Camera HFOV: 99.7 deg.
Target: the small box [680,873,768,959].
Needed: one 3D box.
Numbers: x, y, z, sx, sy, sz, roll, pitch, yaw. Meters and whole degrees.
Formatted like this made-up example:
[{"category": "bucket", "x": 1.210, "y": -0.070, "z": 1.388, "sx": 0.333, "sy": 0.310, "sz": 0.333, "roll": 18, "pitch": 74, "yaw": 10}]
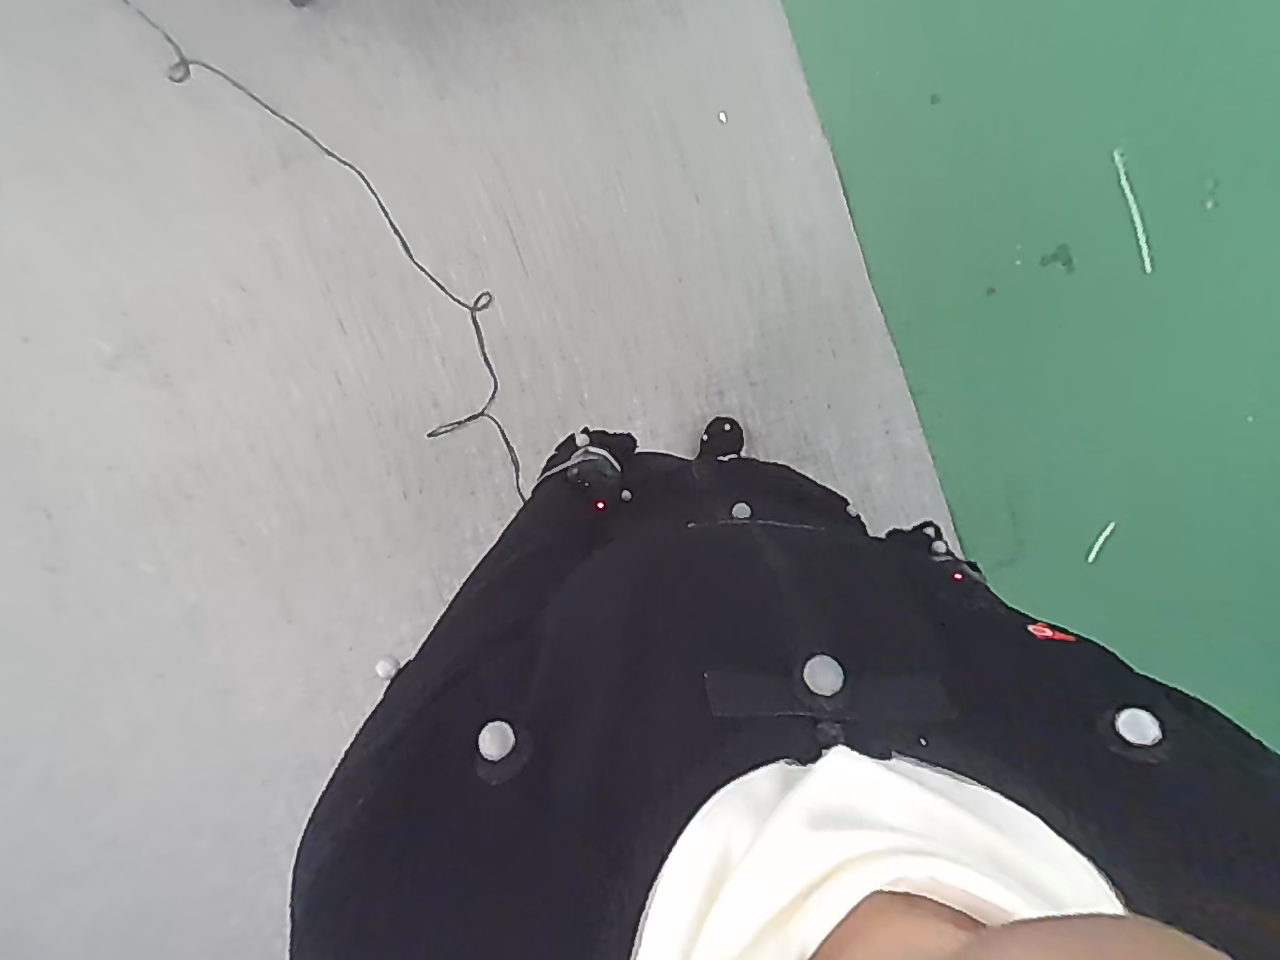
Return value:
[{"category": "small box", "x": 0.196, "y": 1.063, "z": 1.255, "sx": 0.179, "sy": 0.176, "sz": 0.168, "roll": -15, "pitch": 93, "yaw": 3}]
